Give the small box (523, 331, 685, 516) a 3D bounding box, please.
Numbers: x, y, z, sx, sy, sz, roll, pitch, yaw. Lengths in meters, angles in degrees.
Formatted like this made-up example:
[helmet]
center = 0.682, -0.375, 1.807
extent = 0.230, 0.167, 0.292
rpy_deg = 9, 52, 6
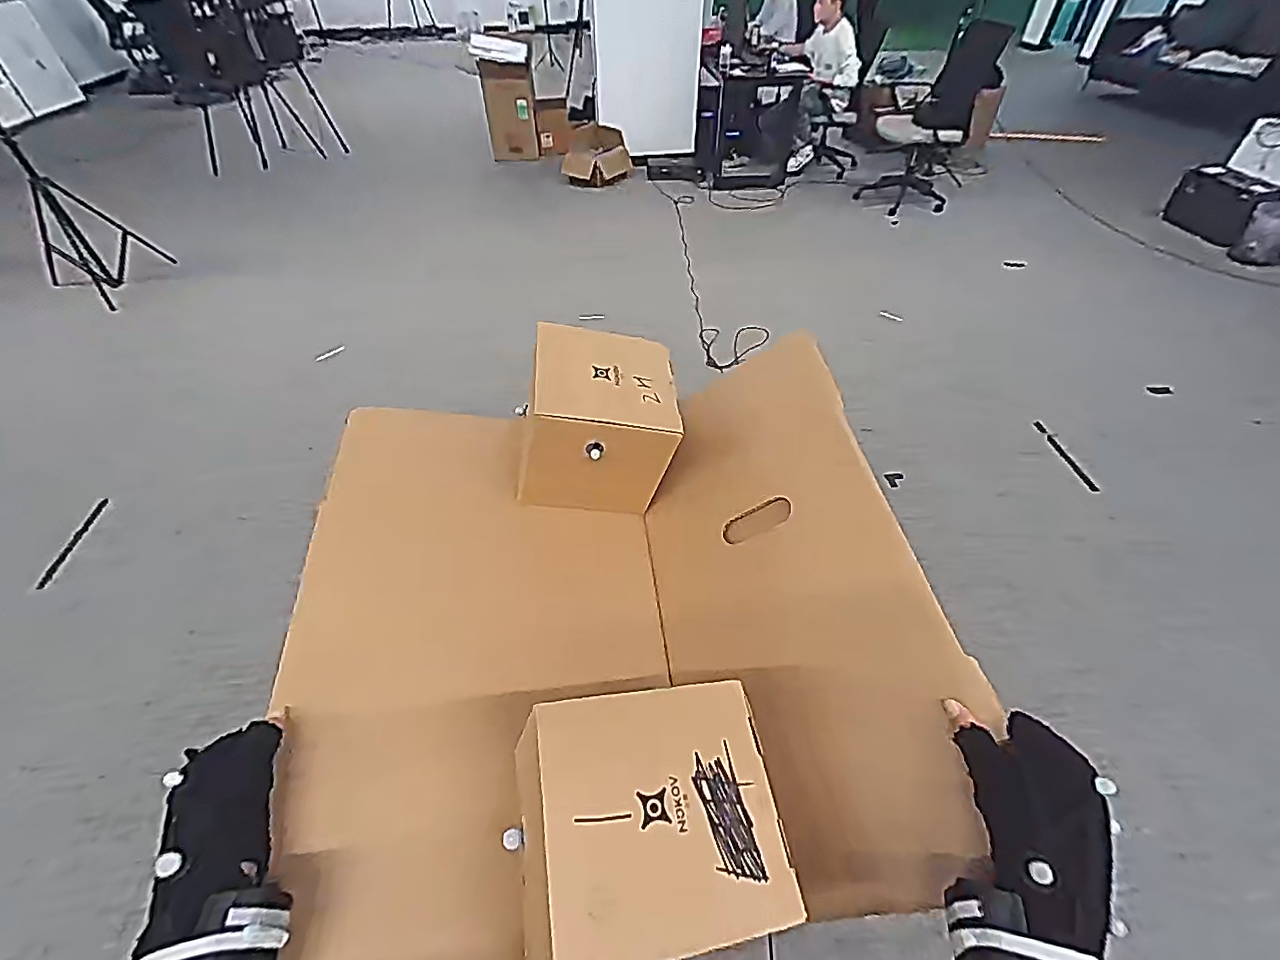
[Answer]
[small box]
center = -0.056, -0.067, 0.715
extent = 0.179, 0.176, 0.168
rpy_deg = 7, 51, -15
